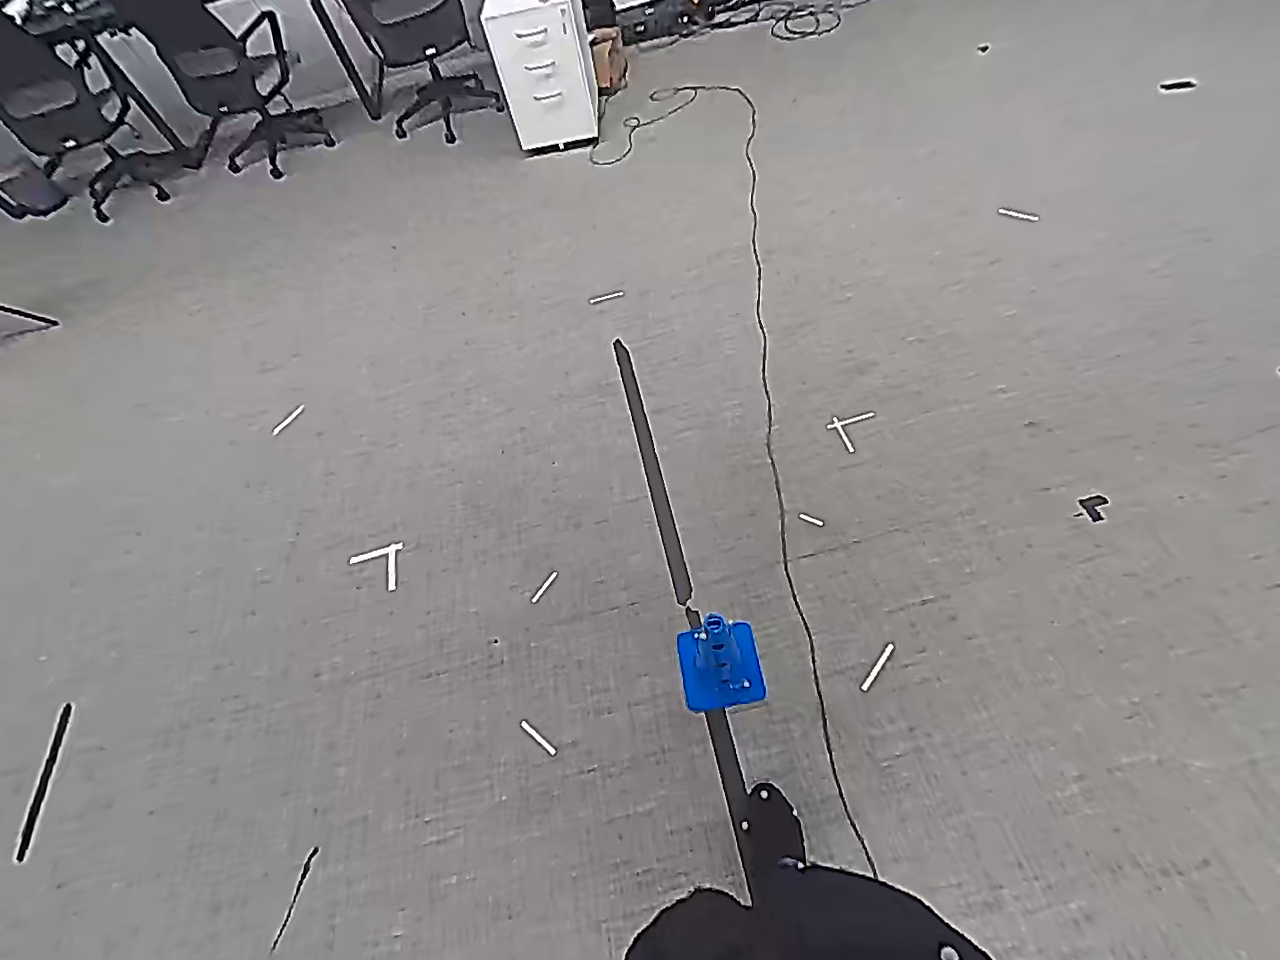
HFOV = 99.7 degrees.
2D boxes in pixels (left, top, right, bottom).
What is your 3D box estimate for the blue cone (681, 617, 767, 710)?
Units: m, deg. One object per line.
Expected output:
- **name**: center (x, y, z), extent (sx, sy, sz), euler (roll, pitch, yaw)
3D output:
- **blue cone**: center (0.182, 0.375, 1.216), extent (0.193, 0.380, 0.192), euler (-12, 57, 2)
